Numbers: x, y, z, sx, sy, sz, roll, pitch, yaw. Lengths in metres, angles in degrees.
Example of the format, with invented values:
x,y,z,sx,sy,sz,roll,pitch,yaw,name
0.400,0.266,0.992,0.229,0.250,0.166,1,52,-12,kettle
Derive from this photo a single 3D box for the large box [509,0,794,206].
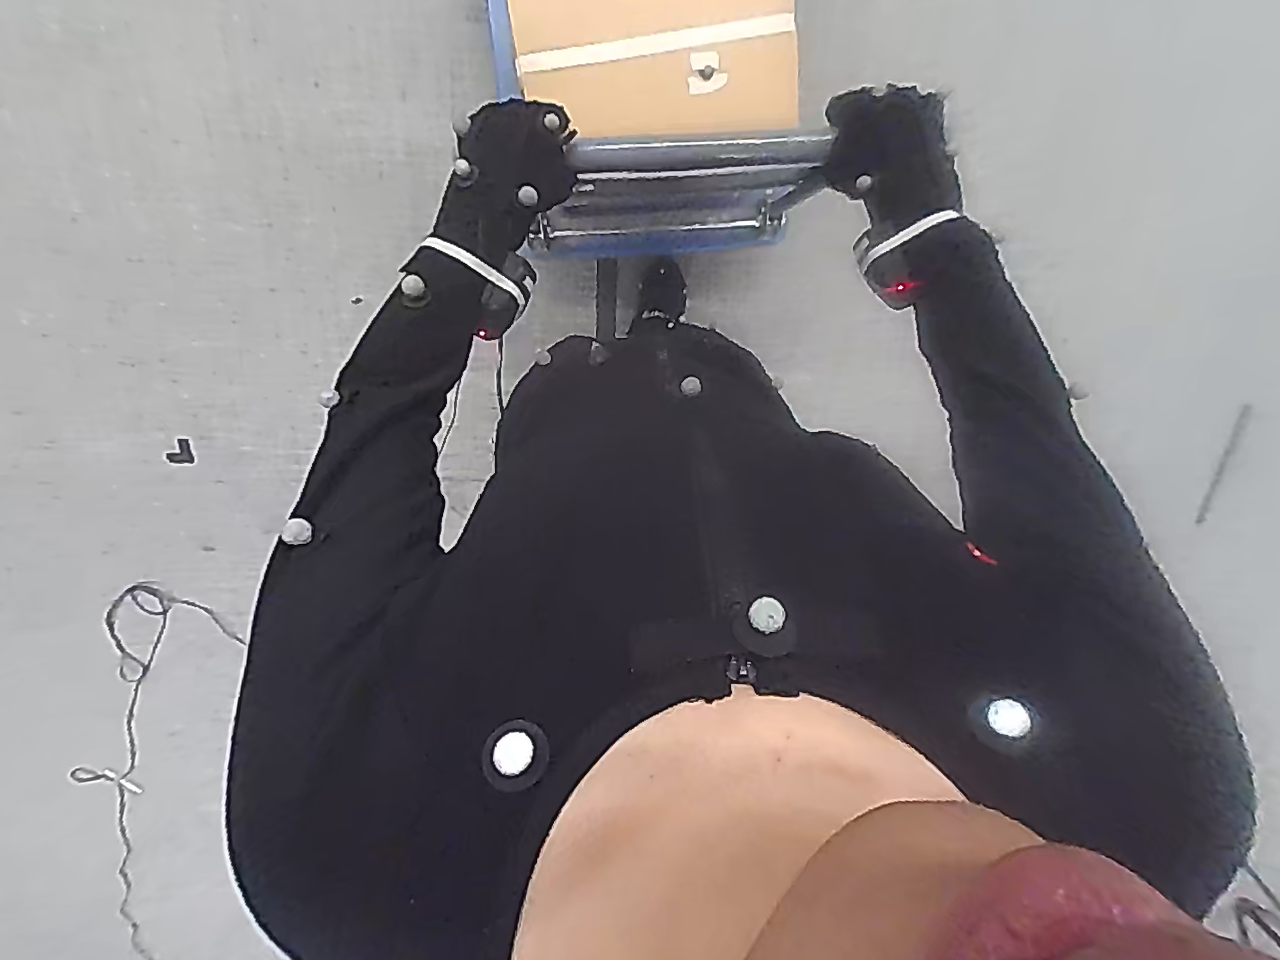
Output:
x,y,z,sx,sy,sz,roll,pitch,yaw,name
0.012,-0.694,0.934,0.408,0.320,0.320,-10,111,-1,large box
